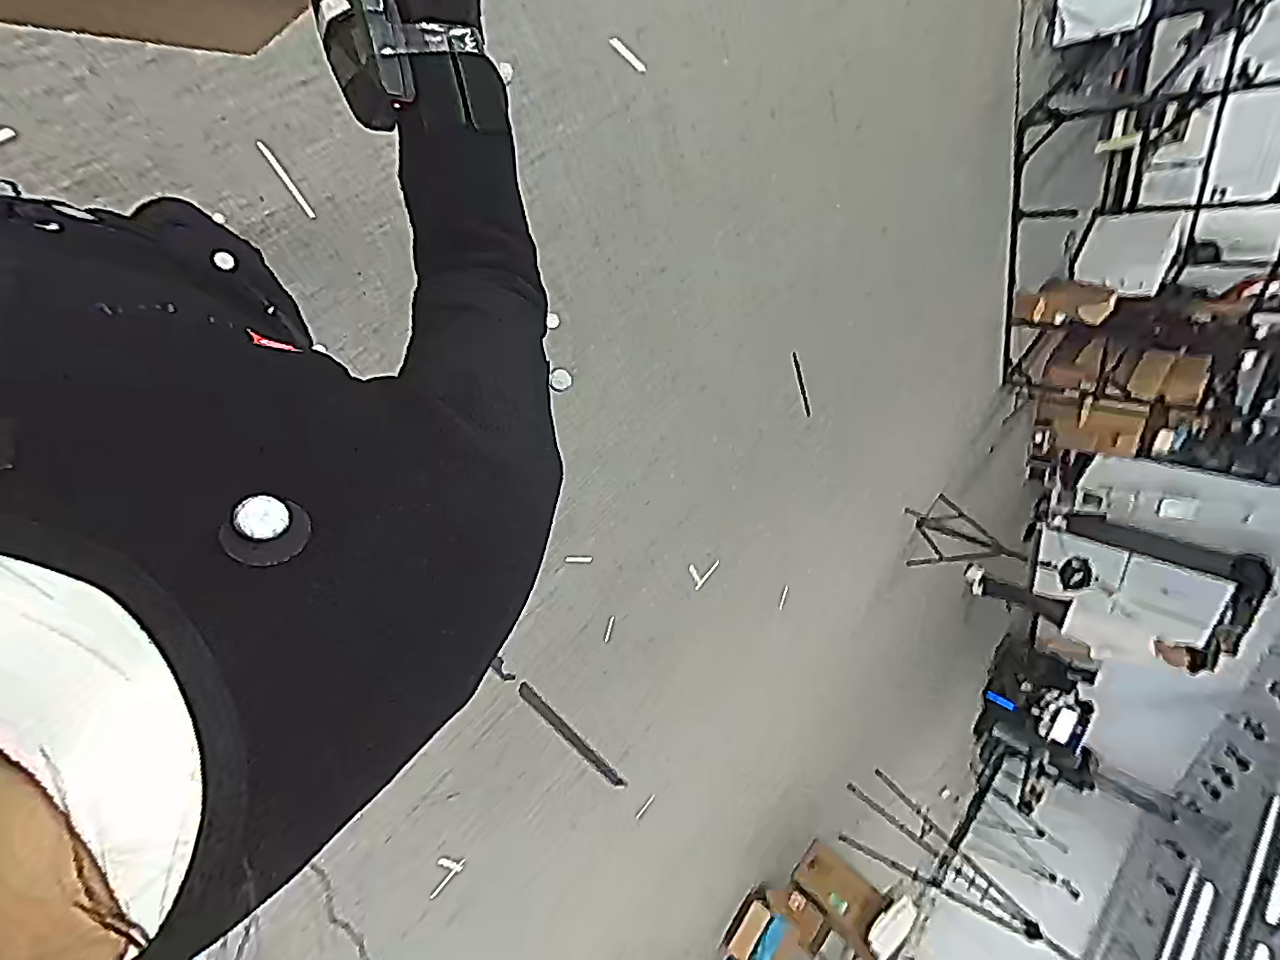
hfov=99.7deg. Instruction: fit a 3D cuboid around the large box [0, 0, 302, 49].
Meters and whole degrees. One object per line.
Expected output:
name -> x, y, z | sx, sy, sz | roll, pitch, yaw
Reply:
large box -> -0.408, -0.412, 0.215 | 0.408, 0.320, 0.320 | -22, 127, -36
